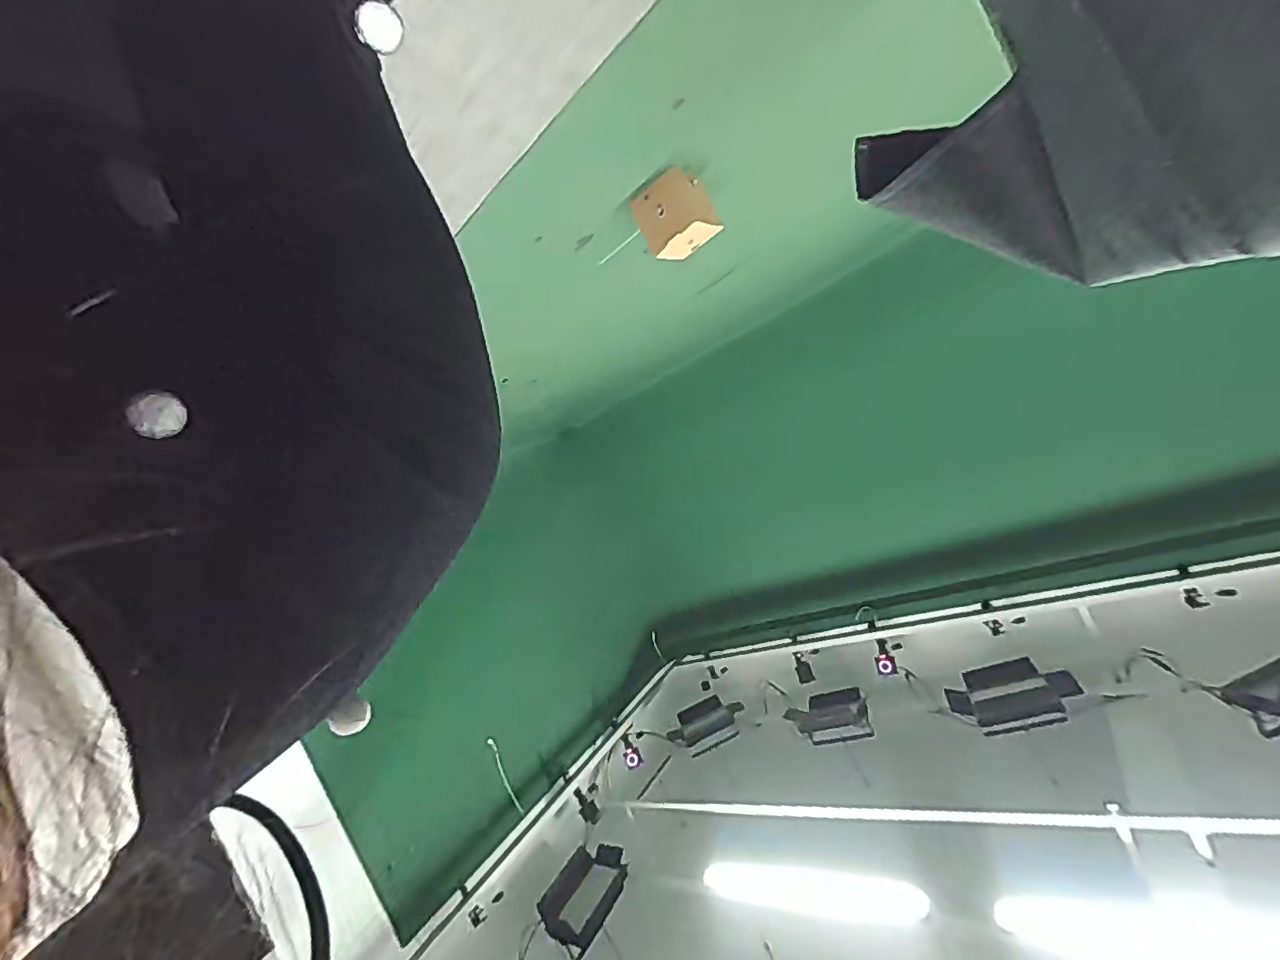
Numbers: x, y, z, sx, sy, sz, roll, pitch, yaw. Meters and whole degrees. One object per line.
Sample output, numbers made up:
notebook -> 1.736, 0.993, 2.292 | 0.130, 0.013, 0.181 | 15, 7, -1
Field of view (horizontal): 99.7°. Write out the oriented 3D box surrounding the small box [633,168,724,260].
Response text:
small box -> 0.109, -0.763, 1.561 | 0.168, 0.176, 0.179 | -24, 180, 38
